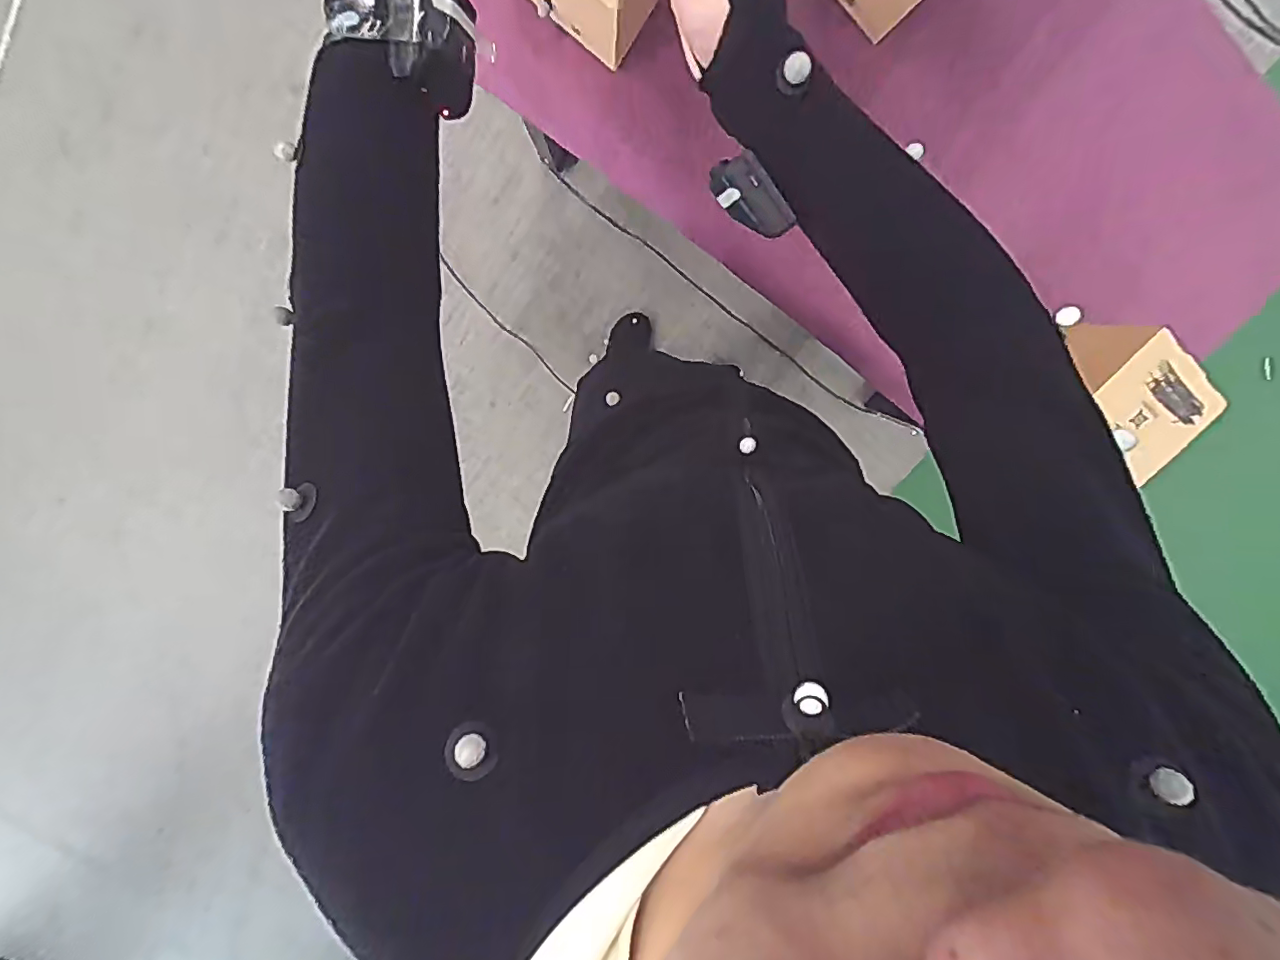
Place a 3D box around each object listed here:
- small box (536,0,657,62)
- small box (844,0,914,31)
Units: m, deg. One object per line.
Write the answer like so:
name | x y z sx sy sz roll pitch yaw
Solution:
small box | -0.044 -0.631 0.600 0.168 0.176 0.179 34 103 -12
small box | 0.312 -0.675 0.605 0.168 0.176 0.179 39 103 -14
